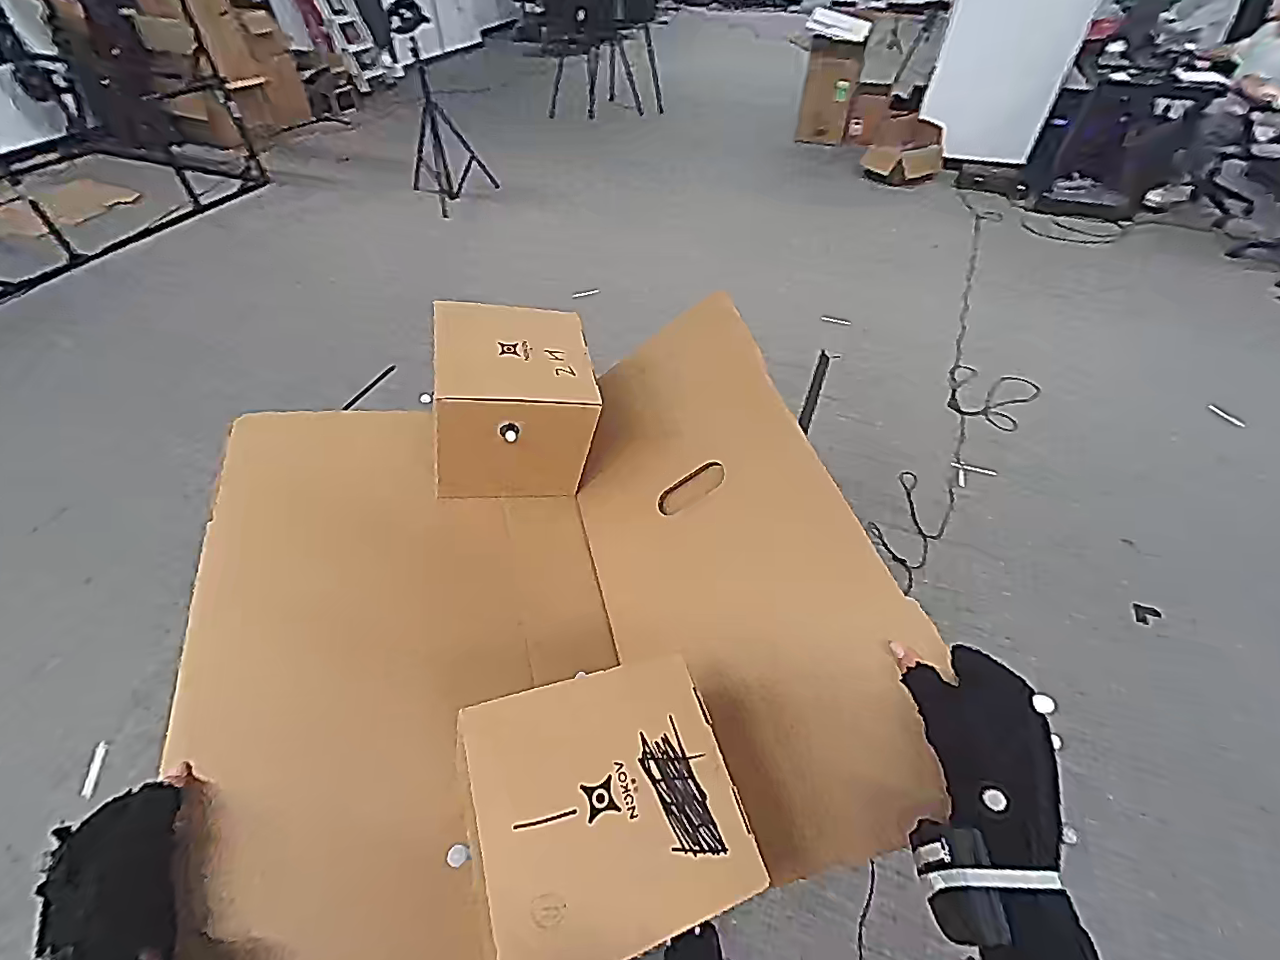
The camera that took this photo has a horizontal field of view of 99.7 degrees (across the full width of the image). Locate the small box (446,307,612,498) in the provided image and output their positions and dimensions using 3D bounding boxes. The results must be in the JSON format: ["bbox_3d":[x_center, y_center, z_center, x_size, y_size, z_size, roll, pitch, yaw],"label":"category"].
[{"bbox_3d":[-0.147,-0.089,0.675,0.179,0.176,0.168,1,52,-20],"label":"small box"}]
